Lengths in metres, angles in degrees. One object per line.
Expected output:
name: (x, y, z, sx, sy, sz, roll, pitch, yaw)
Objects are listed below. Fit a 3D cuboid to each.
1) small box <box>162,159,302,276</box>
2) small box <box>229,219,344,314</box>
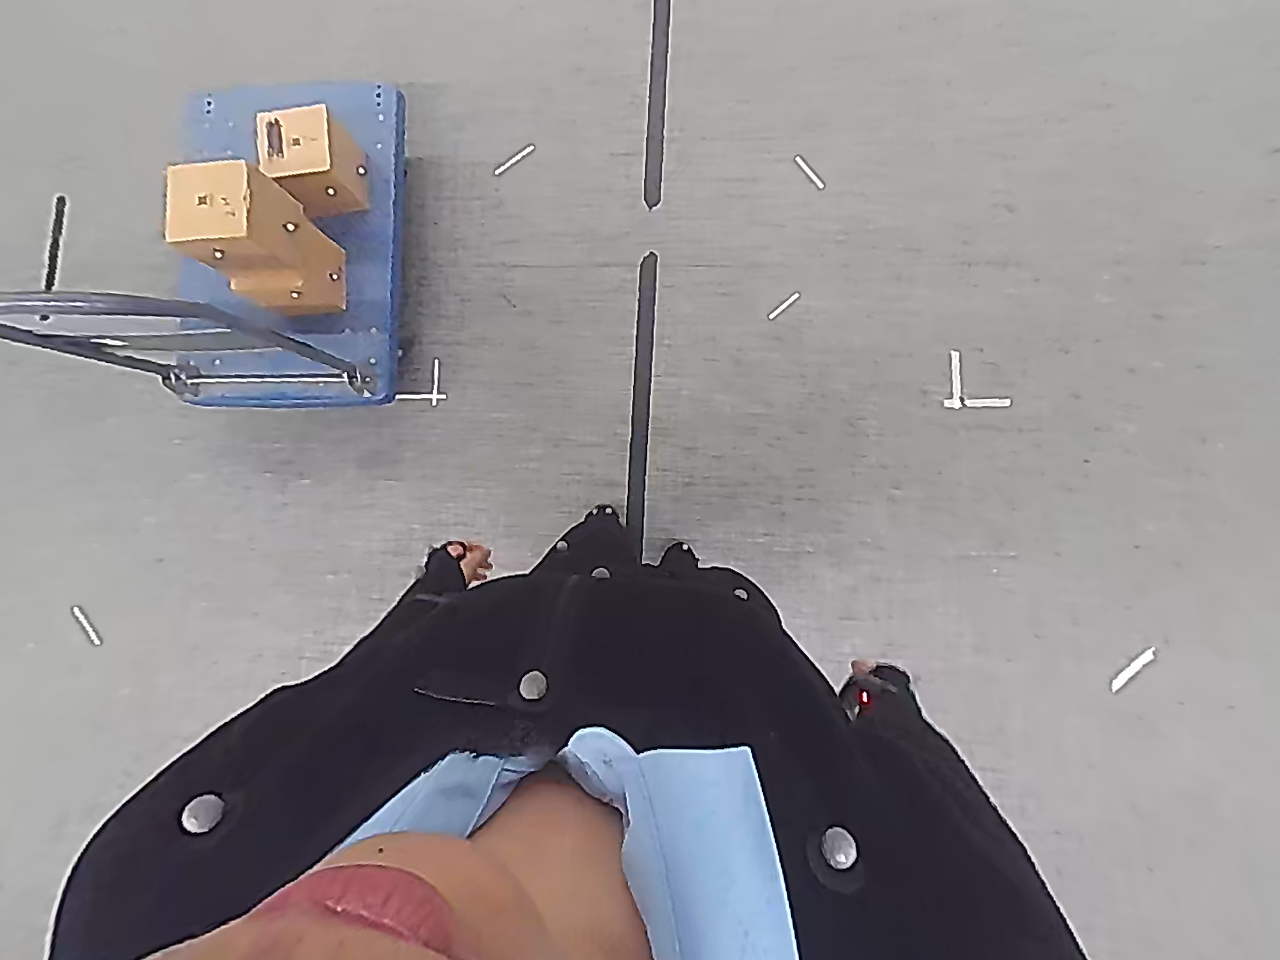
small box: (-0.871, -0.556, 1.166, 0.179, 0.176, 0.168, -3, 86, 2)
small box: (-0.862, -0.518, 1.328, 0.179, 0.176, 0.168, -3, 86, 3)
